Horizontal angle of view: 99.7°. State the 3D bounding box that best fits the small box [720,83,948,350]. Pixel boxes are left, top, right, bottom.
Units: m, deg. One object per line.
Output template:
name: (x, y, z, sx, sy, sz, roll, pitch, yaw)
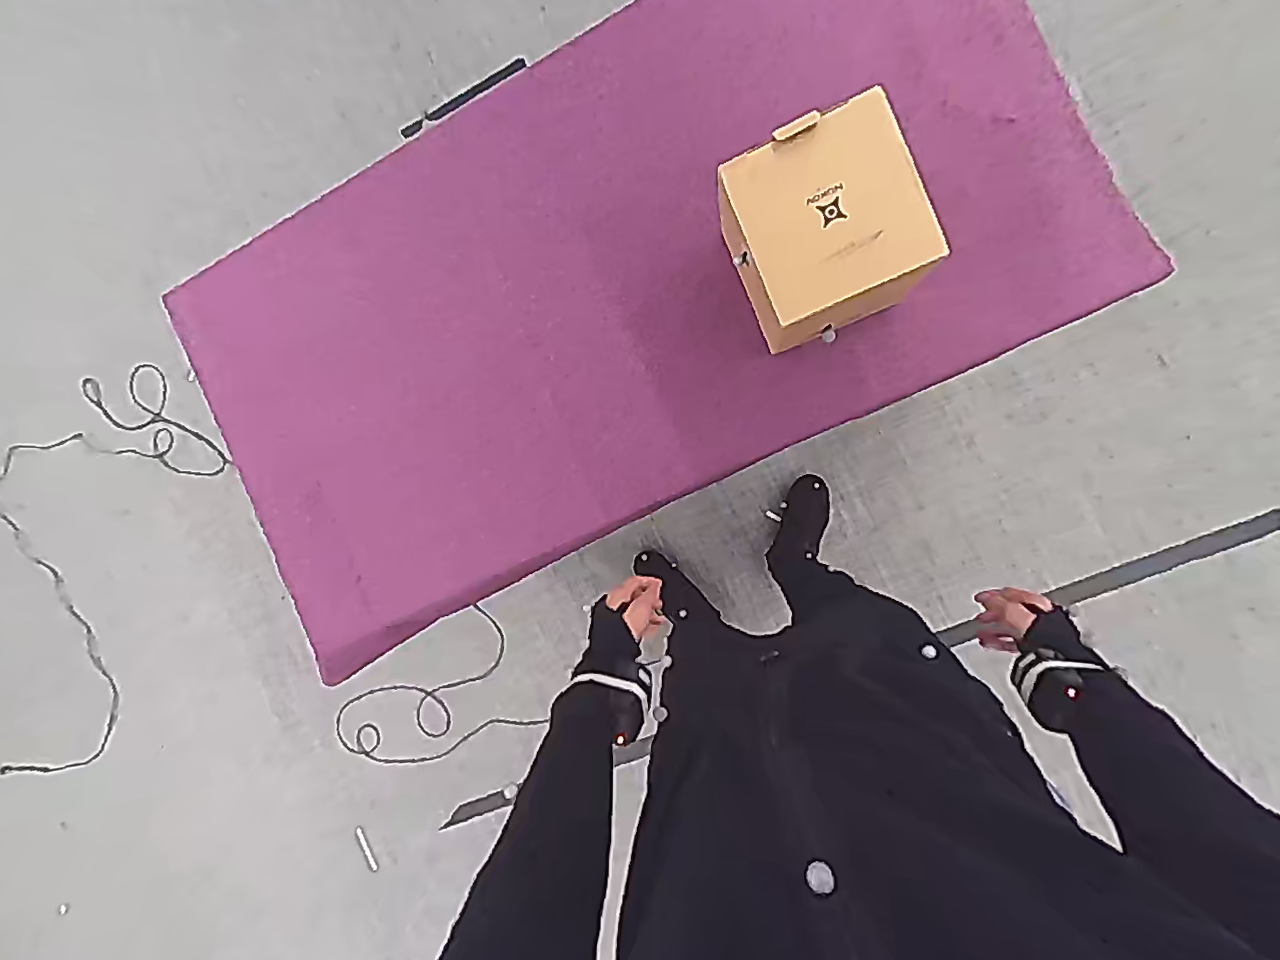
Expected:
small box: (0.193, -0.263, 0.589, 0.168, 0.176, 0.179, -21, 89, 11)
